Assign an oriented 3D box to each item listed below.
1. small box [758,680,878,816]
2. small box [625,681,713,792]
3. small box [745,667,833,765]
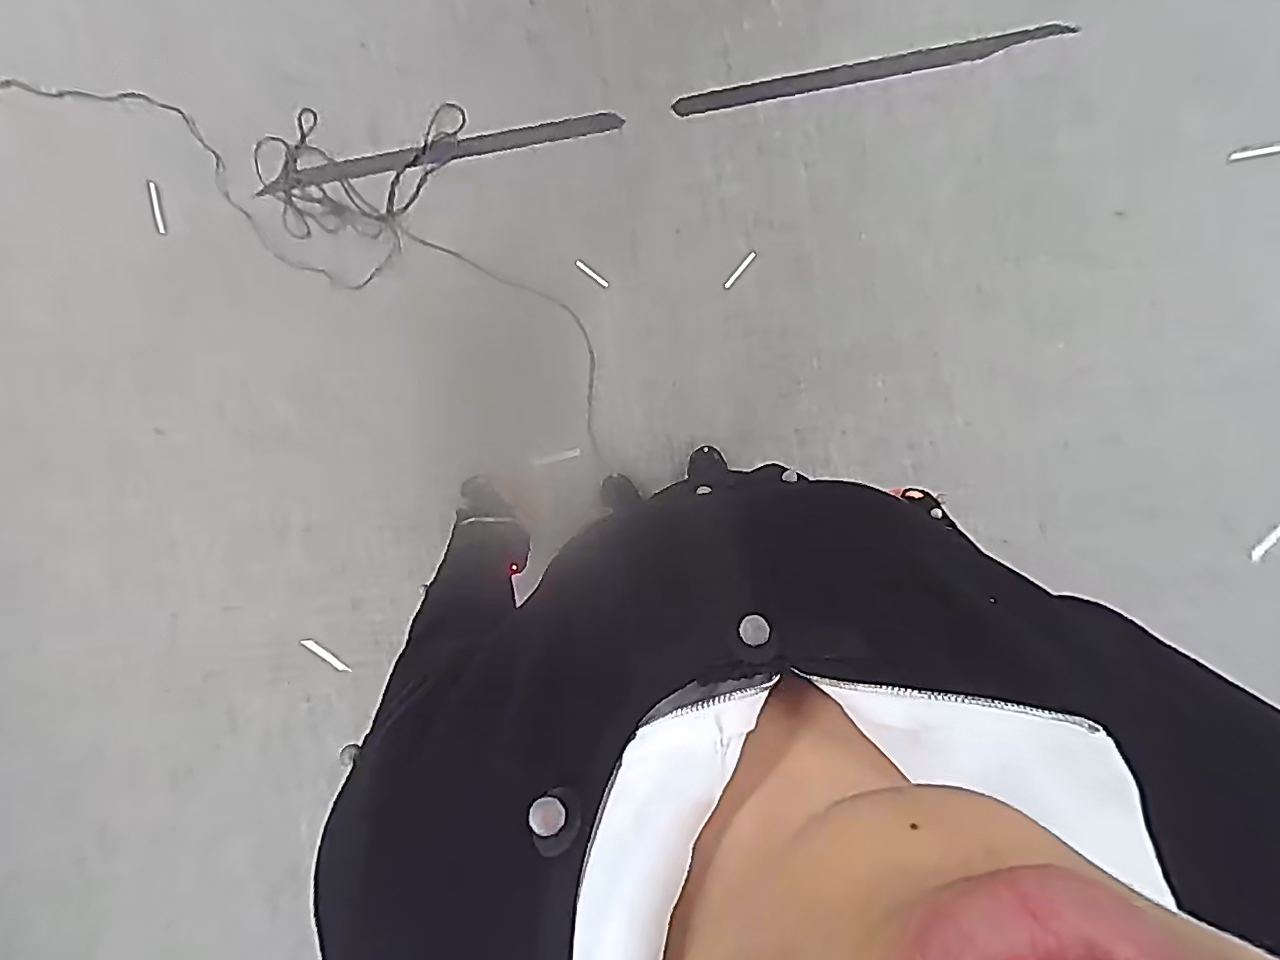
[{"bbox_3d":[0.344,0.528,1.085,0.179,0.176,0.168,-15,94,3],"label":"small box"},{"bbox_3d":[0.066,0.581,1.260,0.168,0.176,0.179,-13,93,2],"label":"small box"},{"bbox_3d":[0.350,0.519,1.248,0.179,0.176,0.168,-14,93,2],"label":"small box"}]
